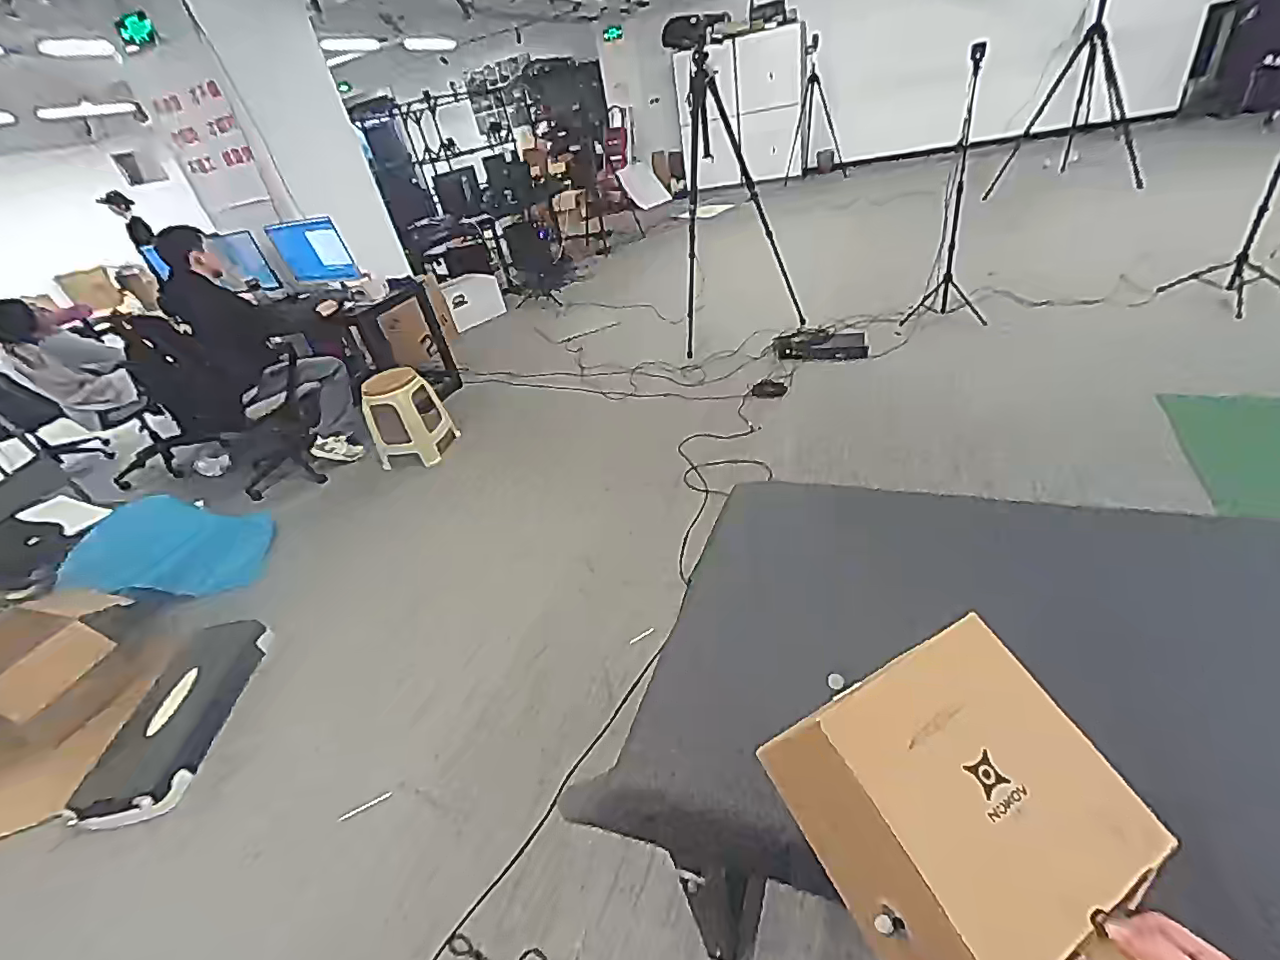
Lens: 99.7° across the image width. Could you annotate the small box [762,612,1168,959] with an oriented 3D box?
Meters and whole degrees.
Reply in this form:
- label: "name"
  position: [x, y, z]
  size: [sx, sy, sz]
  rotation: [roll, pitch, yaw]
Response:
- label: "small box"
  position: [0.225, 0.240, 0.428]
  size: [0.168, 0.176, 0.179]
  rotation: [-22, 60, -19]
